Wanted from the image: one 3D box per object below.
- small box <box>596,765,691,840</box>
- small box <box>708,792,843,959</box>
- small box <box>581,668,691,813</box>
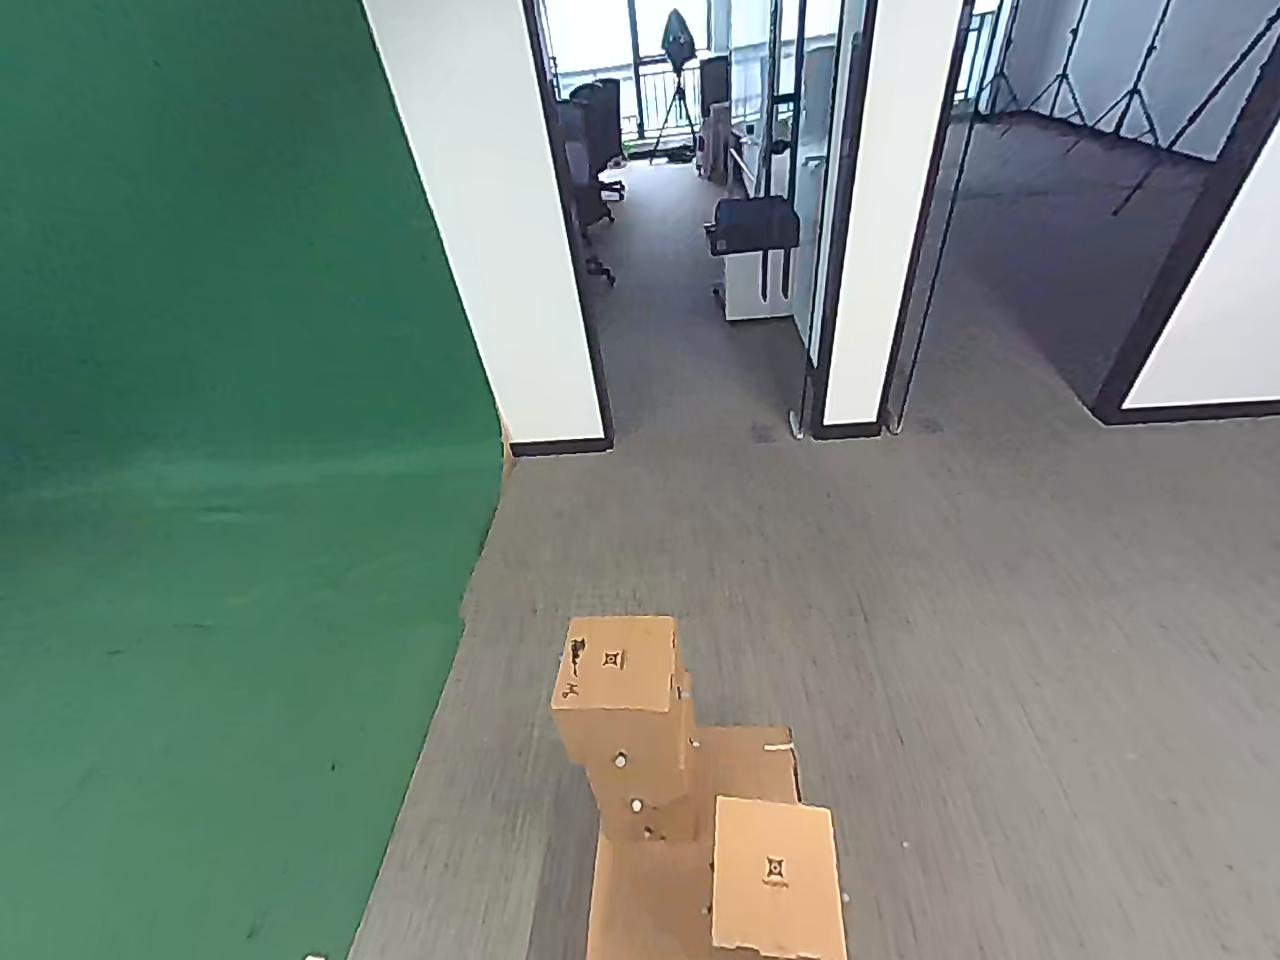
[{"bbox_3d":[0.014,0.586,1.082,0.168,0.176,0.179,-3,37,7],"label":"small box"},{"bbox_3d":[0.185,0.588,0.785,0.168,0.176,0.179,1,39,9],"label":"small box"},{"bbox_3d":[0.002,0.464,0.970,0.168,0.176,0.179,-1,37,9],"label":"small box"}]
